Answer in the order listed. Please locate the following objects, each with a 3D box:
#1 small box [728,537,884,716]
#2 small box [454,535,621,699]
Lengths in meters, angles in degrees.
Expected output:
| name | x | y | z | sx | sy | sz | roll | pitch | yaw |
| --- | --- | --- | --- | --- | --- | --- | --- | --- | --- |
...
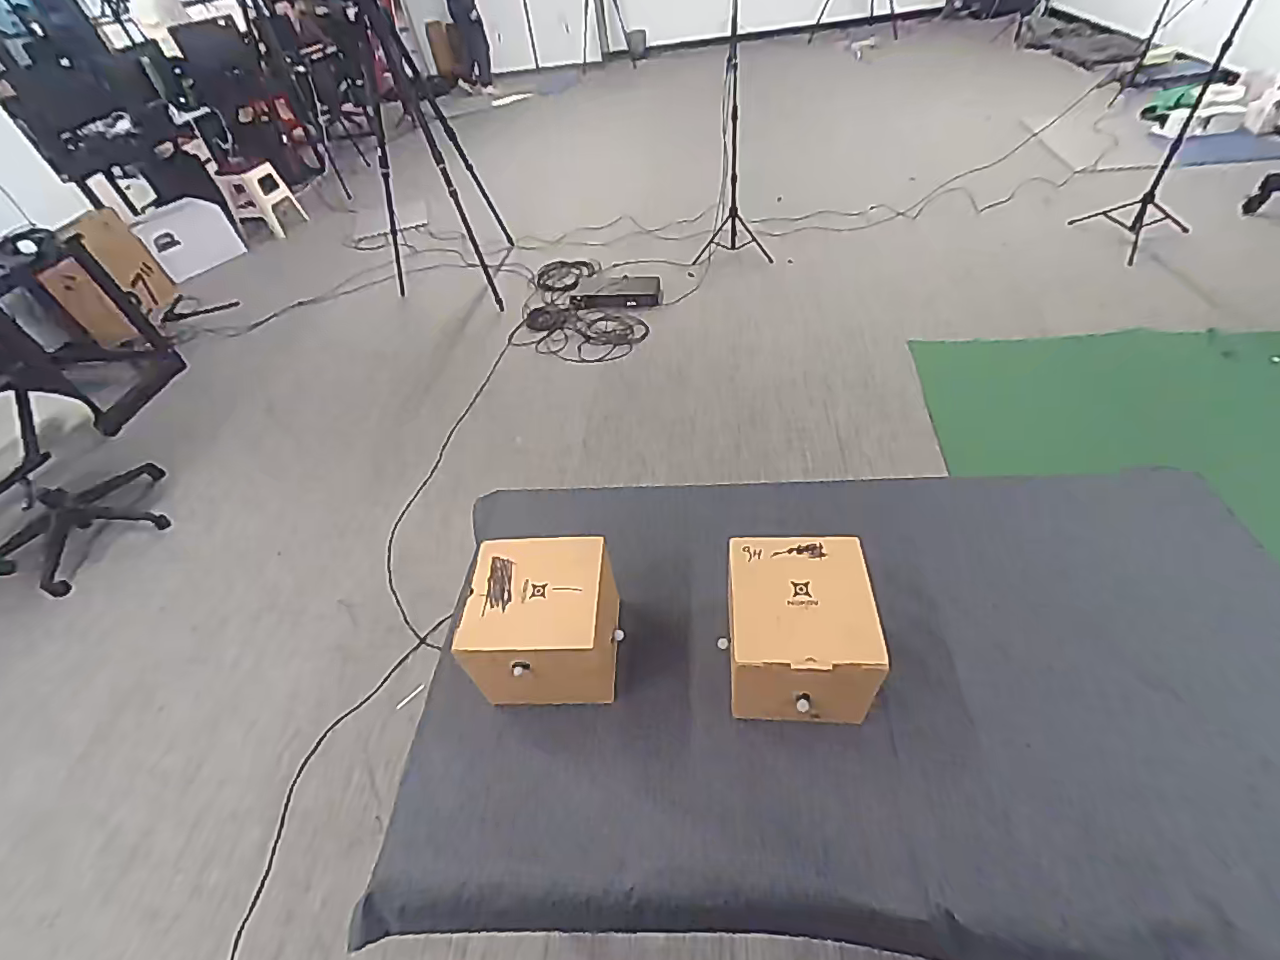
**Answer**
| name | x | y | z | sx | sy | sz | roll | pitch | yaw |
| --- | --- | --- | --- | --- | --- | --- | --- | --- | --- |
| small box | 0.201 | 0.192 | 0.704 | 0.168 | 0.176 | 0.179 | -1 | 48 | 8 |
| small box | -0.127 | 0.193 | 0.752 | 0.179 | 0.176 | 0.168 | -2 | 47 | 5 |
